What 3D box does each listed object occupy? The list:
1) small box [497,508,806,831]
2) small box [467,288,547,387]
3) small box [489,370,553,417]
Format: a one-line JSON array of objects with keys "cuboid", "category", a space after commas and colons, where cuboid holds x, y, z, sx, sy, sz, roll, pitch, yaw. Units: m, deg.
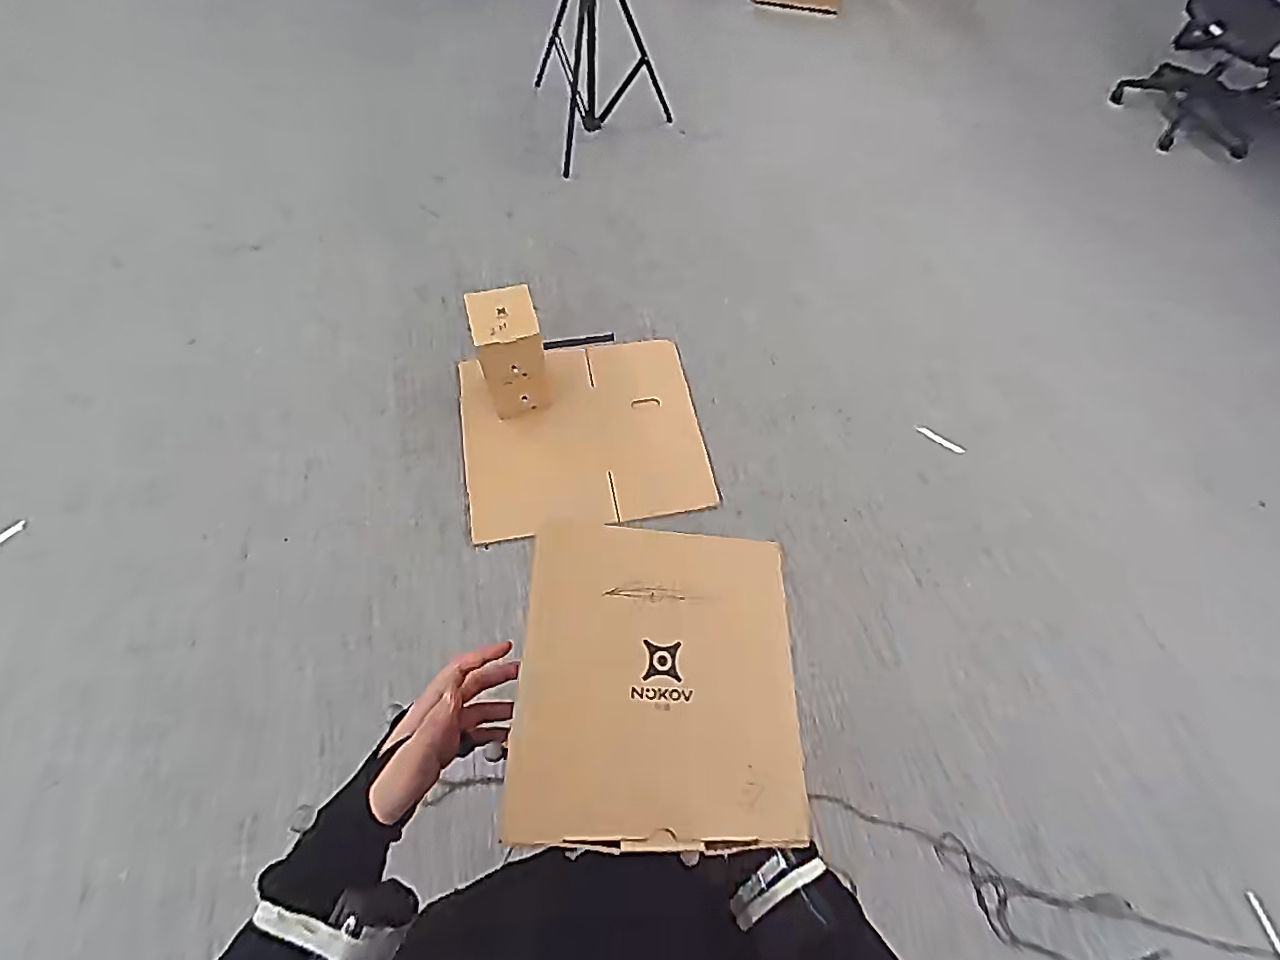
[{"cuboid": [-0.004, 0.140, 0.386, 0.168, 0.176, 0.179, 6, 60, -10], "category": "small box"}, {"cuboid": [-0.350, -0.375, 1.435, 0.168, 0.176, 0.179, -14, 66, -10], "category": "small box"}, {"cuboid": [-0.356, -0.302, 1.582, 0.168, 0.176, 0.179, -15, 67, -12], "category": "small box"}]
